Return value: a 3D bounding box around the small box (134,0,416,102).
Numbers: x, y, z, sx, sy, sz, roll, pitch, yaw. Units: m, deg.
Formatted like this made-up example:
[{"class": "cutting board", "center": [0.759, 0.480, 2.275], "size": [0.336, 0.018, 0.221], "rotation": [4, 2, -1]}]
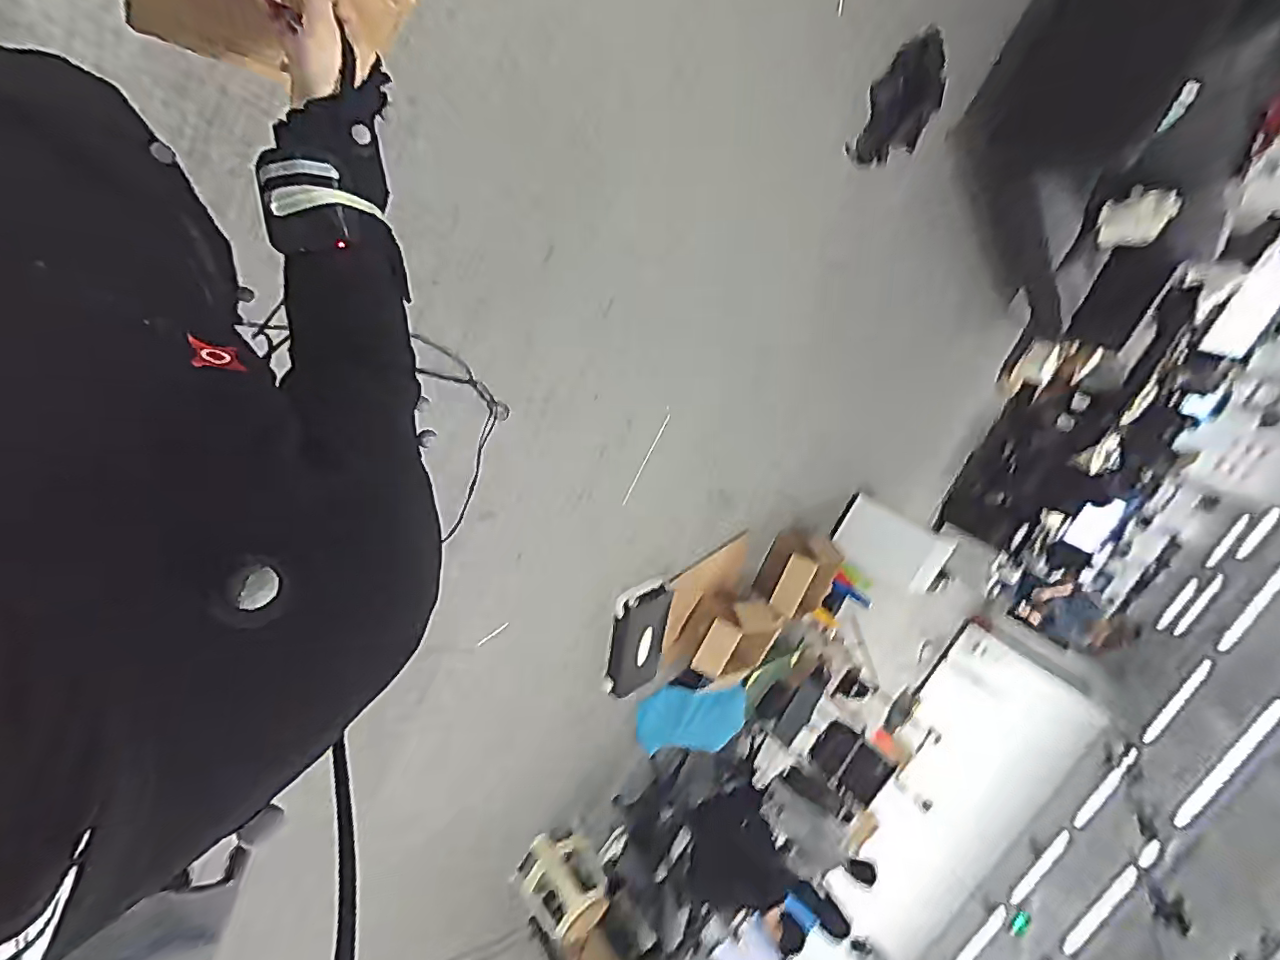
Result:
[{"class": "small box", "center": [-0.292, -0.445, 0.417], "size": [0.168, 0.176, 0.179], "rotation": [-7, 92, -46]}]
